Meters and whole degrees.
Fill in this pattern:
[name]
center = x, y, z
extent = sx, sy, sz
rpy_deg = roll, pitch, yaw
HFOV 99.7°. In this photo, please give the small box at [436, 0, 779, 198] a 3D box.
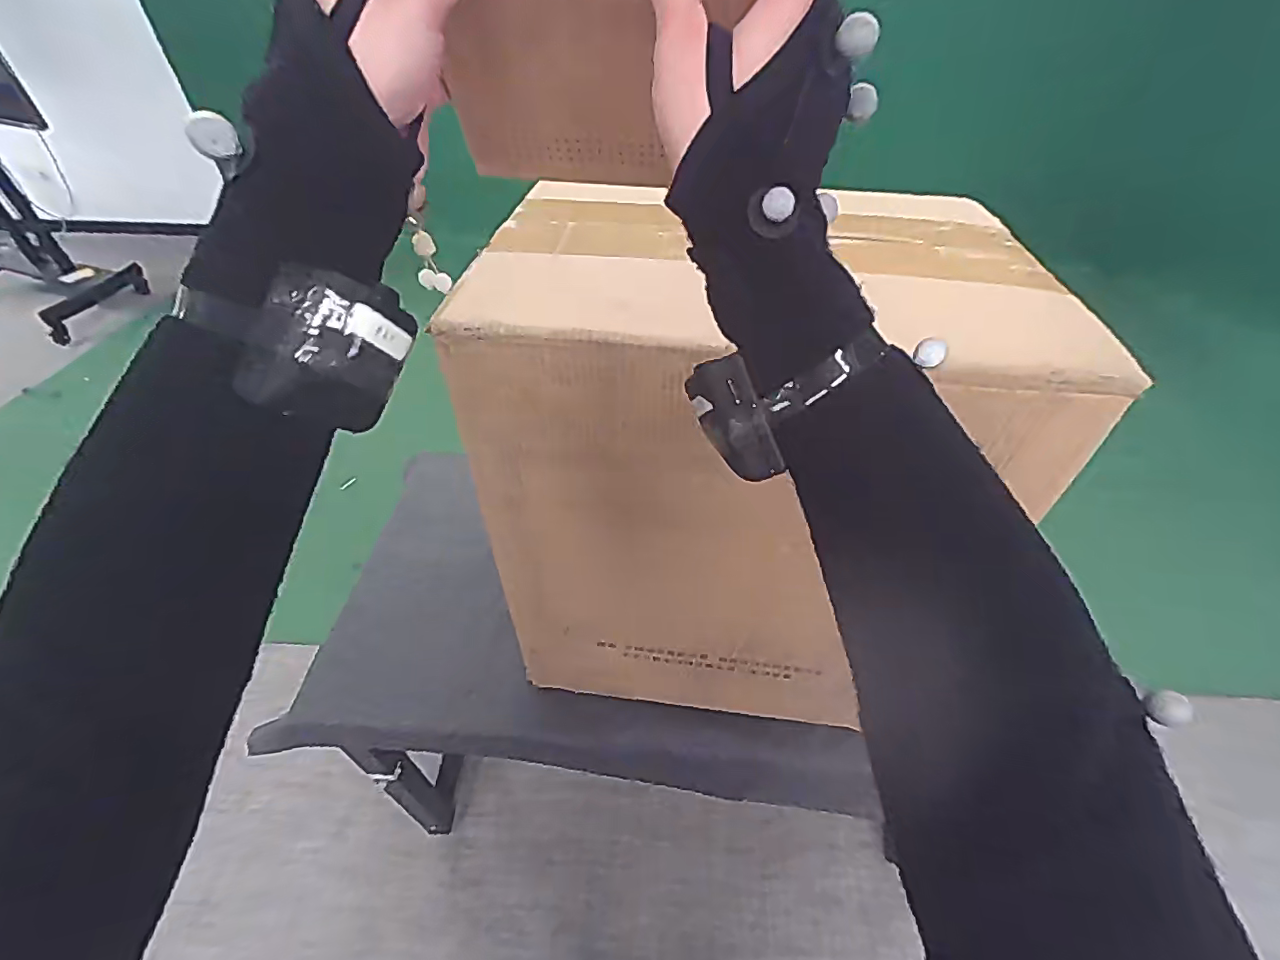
[small box]
center = -0.012, -0.289, 0.302
extent = 0.179, 0.176, 0.168
rpy_deg = 6, 74, 2
